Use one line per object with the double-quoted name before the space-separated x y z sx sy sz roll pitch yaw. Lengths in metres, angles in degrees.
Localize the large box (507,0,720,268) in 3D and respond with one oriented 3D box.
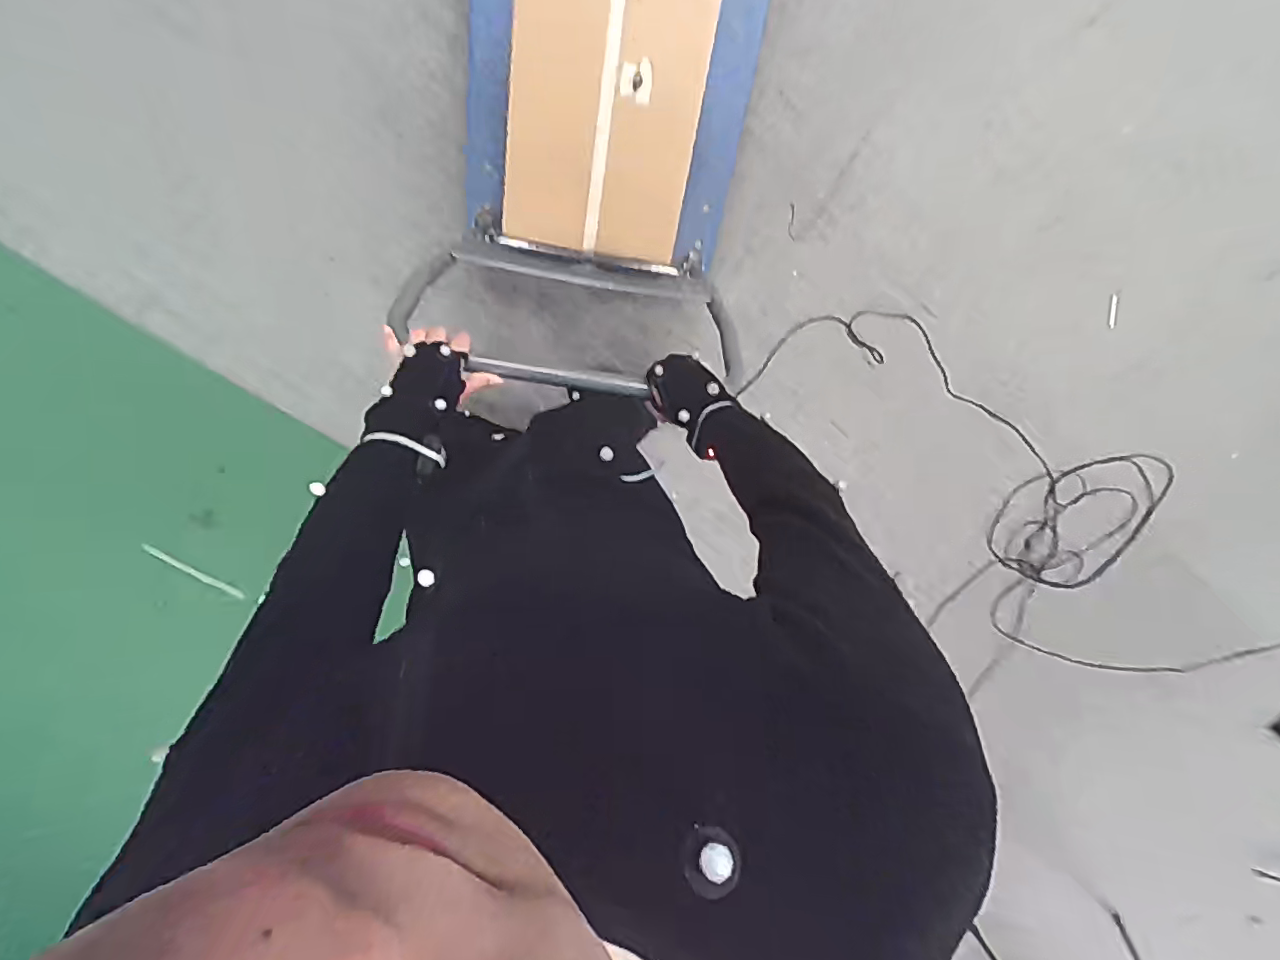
"large box" -0.061 -0.656 1.036 0.320 0.320 0.408 8 118 -7
